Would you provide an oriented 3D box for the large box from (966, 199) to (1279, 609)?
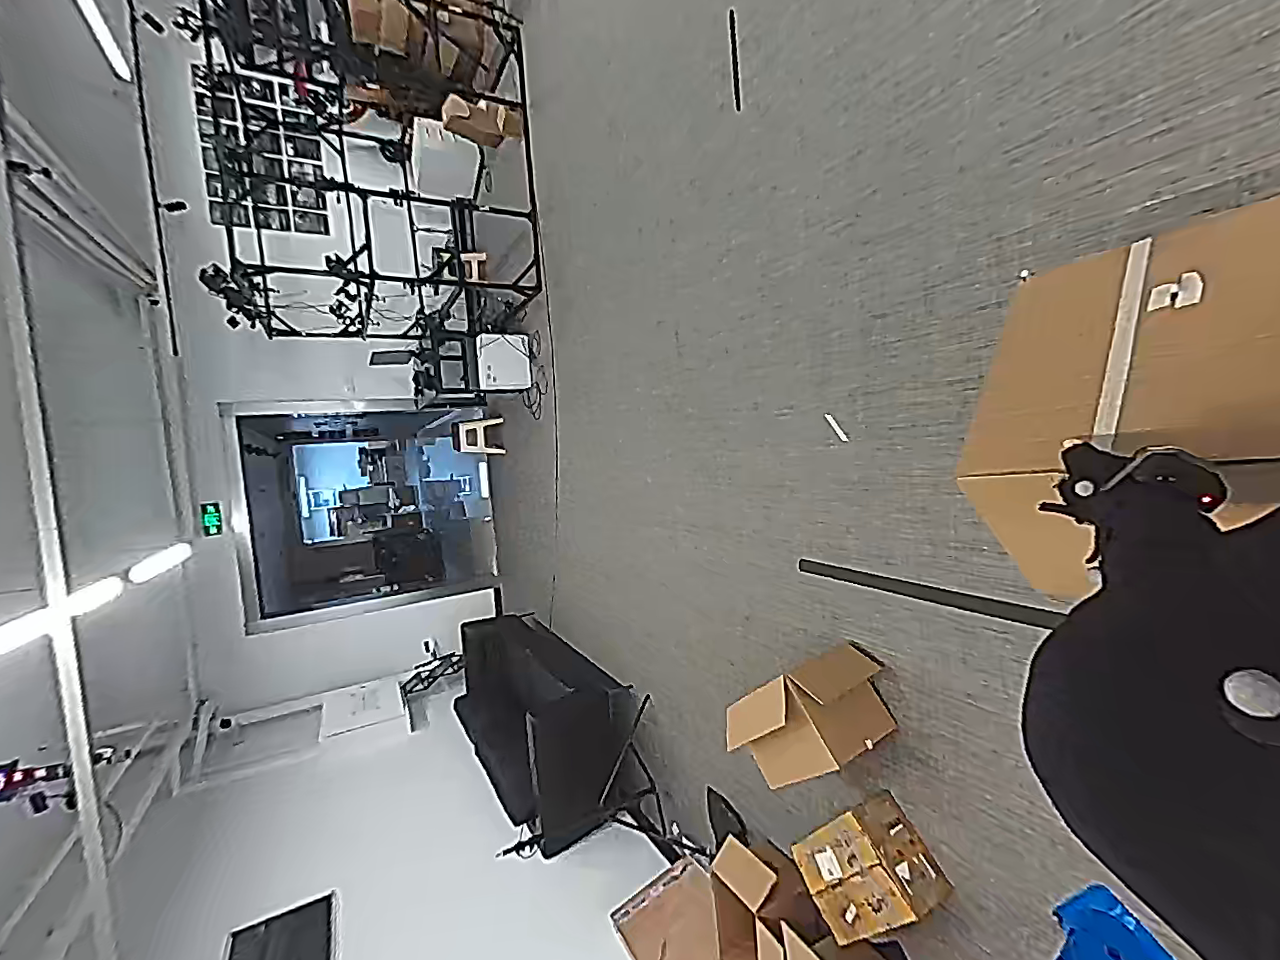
[{"bbox_3d":[0.714,-0.081,0.737,0.320,0.320,0.408,-5,49,56],"label":"large box"}]
